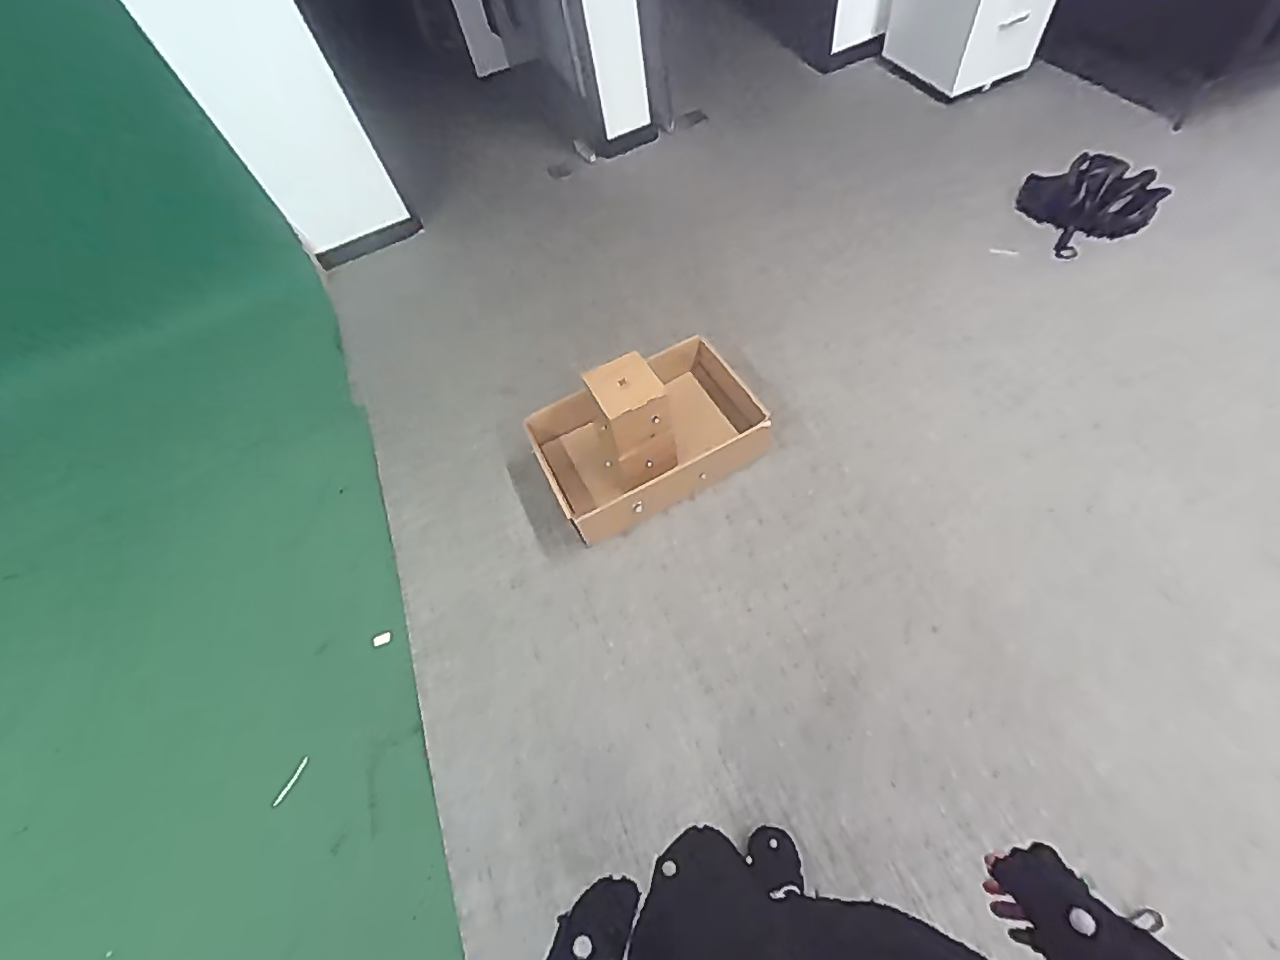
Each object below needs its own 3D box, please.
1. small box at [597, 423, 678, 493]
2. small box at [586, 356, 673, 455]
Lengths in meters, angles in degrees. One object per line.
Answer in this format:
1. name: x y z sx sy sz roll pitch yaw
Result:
1. small box: 0.000 -0.096 1.564 0.179 0.176 0.168 -28 57 -8
2. small box: -0.023 -0.189 1.435 0.168 0.176 0.179 -26 56 -10
